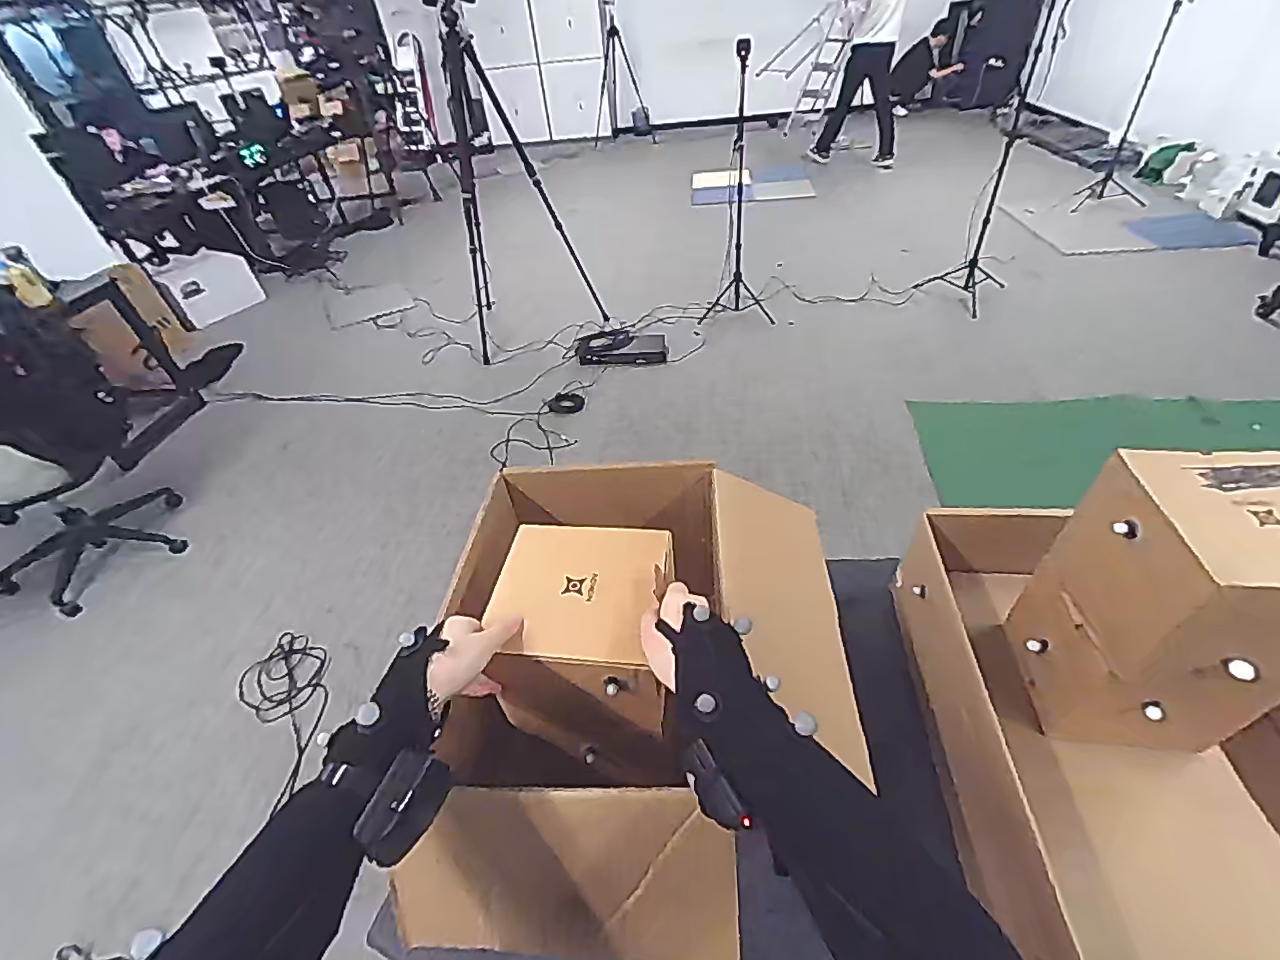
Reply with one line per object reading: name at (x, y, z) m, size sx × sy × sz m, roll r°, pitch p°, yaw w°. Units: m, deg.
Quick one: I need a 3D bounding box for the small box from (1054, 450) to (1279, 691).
small box at (0.574, 0.089, 0.553) m, size 0.168 × 0.176 × 0.179 m, roll 1°, pitch 44°, yaw 9°
